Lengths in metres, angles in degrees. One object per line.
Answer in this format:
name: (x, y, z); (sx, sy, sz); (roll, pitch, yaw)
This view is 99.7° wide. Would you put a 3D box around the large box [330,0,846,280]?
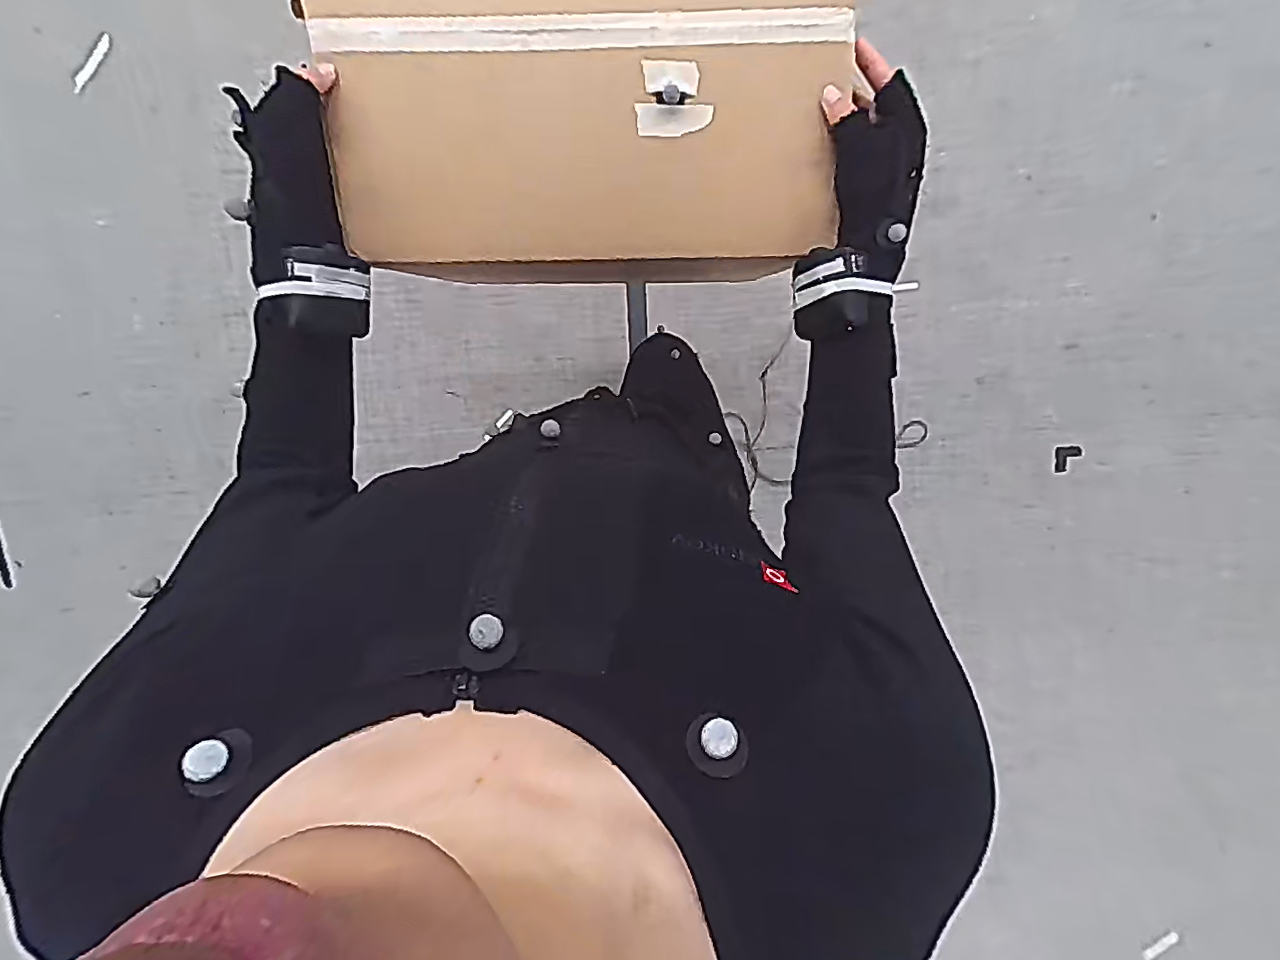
large box: (-0.042, -0.388, 0.563); (0.408, 0.320, 0.320); (-1, 108, -1)
